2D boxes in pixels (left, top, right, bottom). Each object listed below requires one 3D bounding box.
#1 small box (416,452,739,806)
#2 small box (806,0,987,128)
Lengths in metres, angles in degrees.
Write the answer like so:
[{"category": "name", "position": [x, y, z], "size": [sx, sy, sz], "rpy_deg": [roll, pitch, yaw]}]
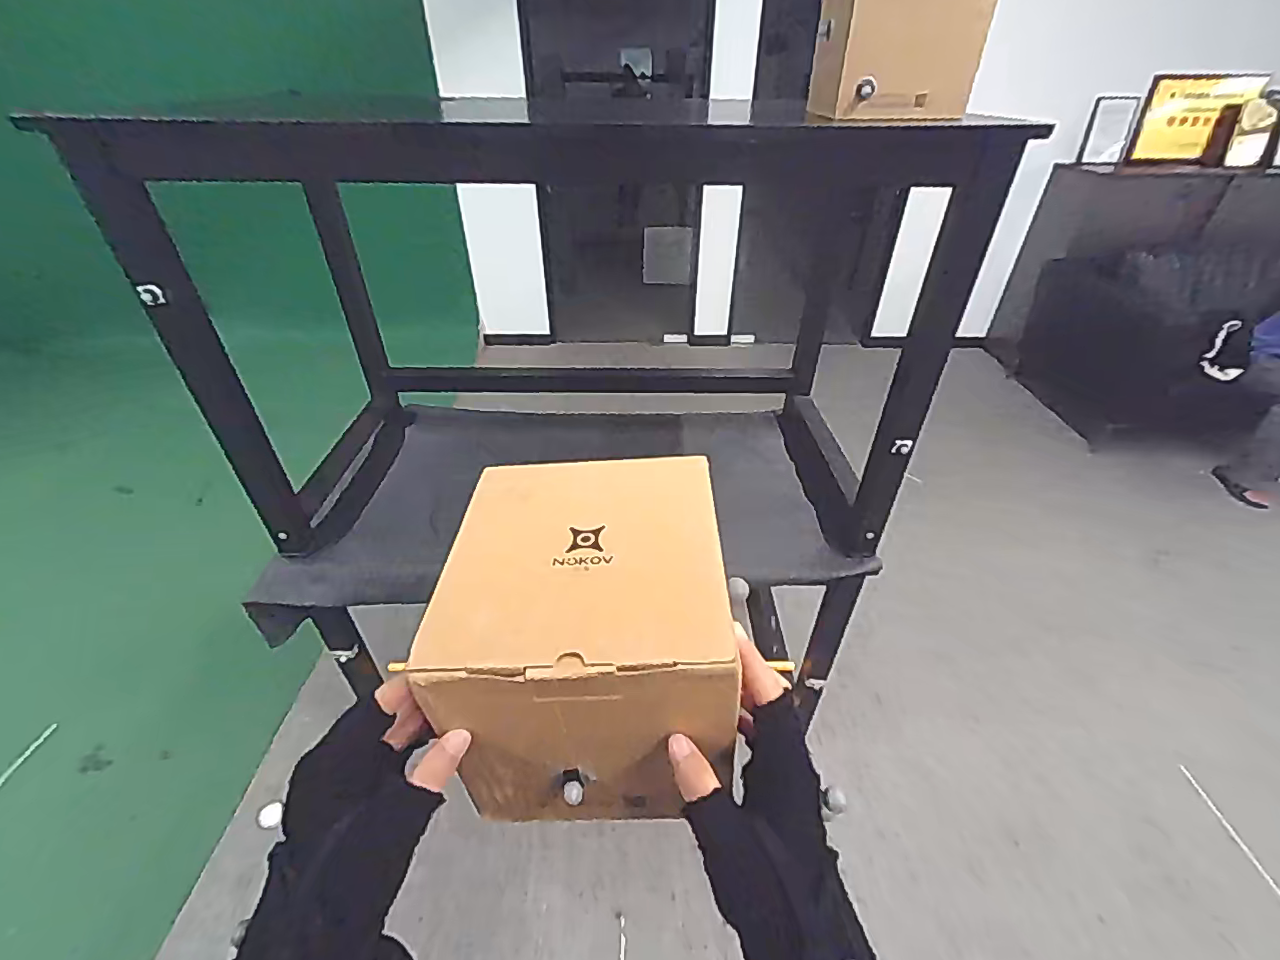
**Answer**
[{"category": "small box", "position": [-0.027, 0.098, 0.380], "size": [0.168, 0.176, 0.179], "rpy_deg": [-3, 36, 2]}, {"category": "small box", "position": [0.330, -0.570, 0.716], "size": [0.168, 0.176, 0.179], "rpy_deg": [2, 35, 2]}]
